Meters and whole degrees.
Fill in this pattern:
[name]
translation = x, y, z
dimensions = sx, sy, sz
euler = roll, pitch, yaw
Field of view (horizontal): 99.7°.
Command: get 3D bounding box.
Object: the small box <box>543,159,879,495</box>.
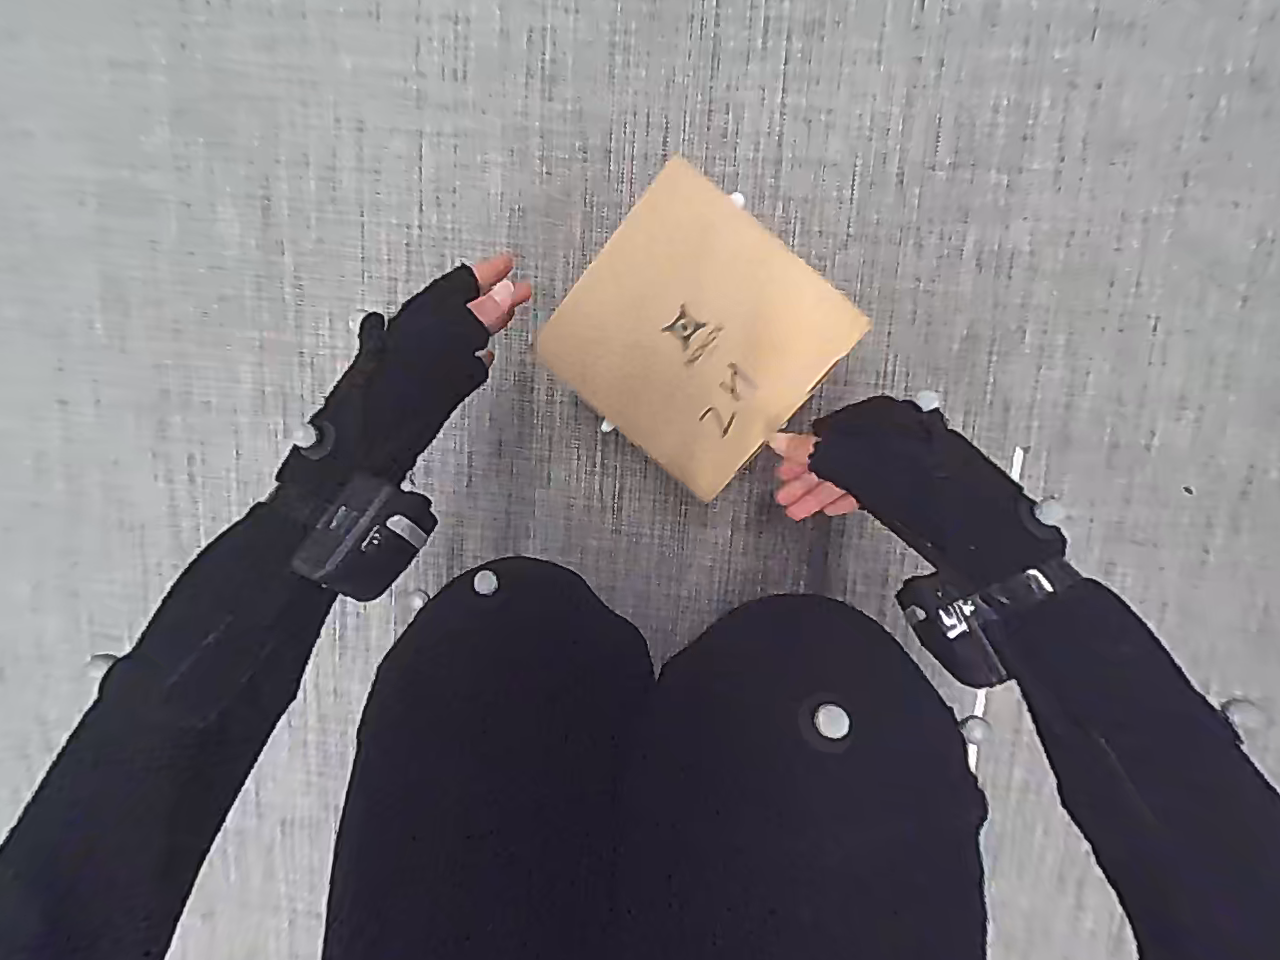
[small box]
translation = 0.053, -0.110, 0.453
dimensions = 0.179, 0.176, 0.168
euler = 41, 99, 0
